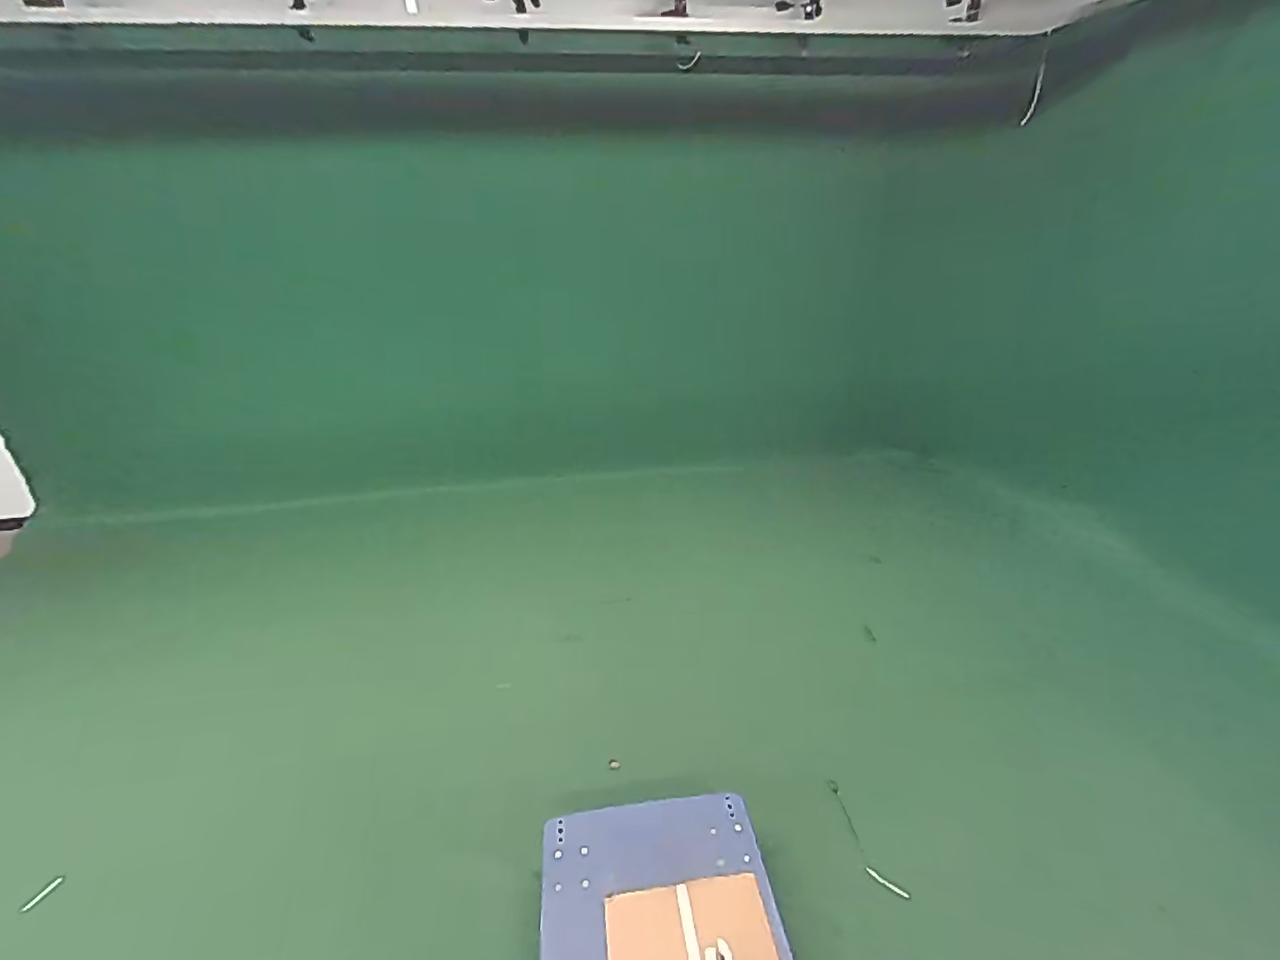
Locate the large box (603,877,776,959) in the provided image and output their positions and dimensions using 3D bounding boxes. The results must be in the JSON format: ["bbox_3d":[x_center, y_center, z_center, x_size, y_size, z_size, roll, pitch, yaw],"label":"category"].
[{"bbox_3d":[0.112,1.048,0.979,0.320,0.320,0.408,-4,25,-7],"label":"large box"}]
